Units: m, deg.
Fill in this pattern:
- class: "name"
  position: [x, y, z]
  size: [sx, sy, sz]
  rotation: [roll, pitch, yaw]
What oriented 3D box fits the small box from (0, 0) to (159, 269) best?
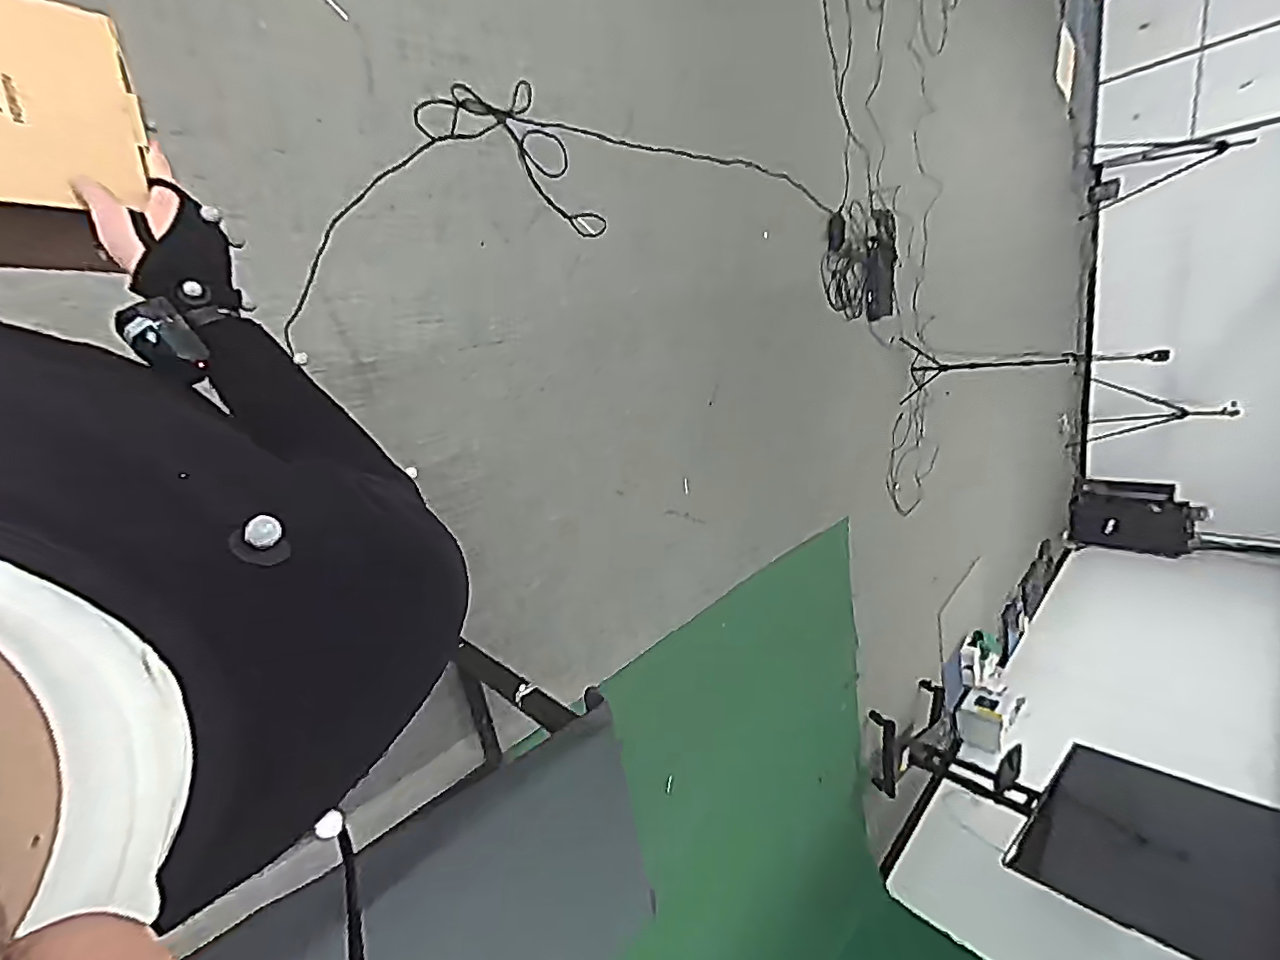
- class: "small box"
  position: [-0.543, -0.296, 0.465]
  size: [0.179, 0.176, 0.168]
  rotation: [-10, 93, -37]
